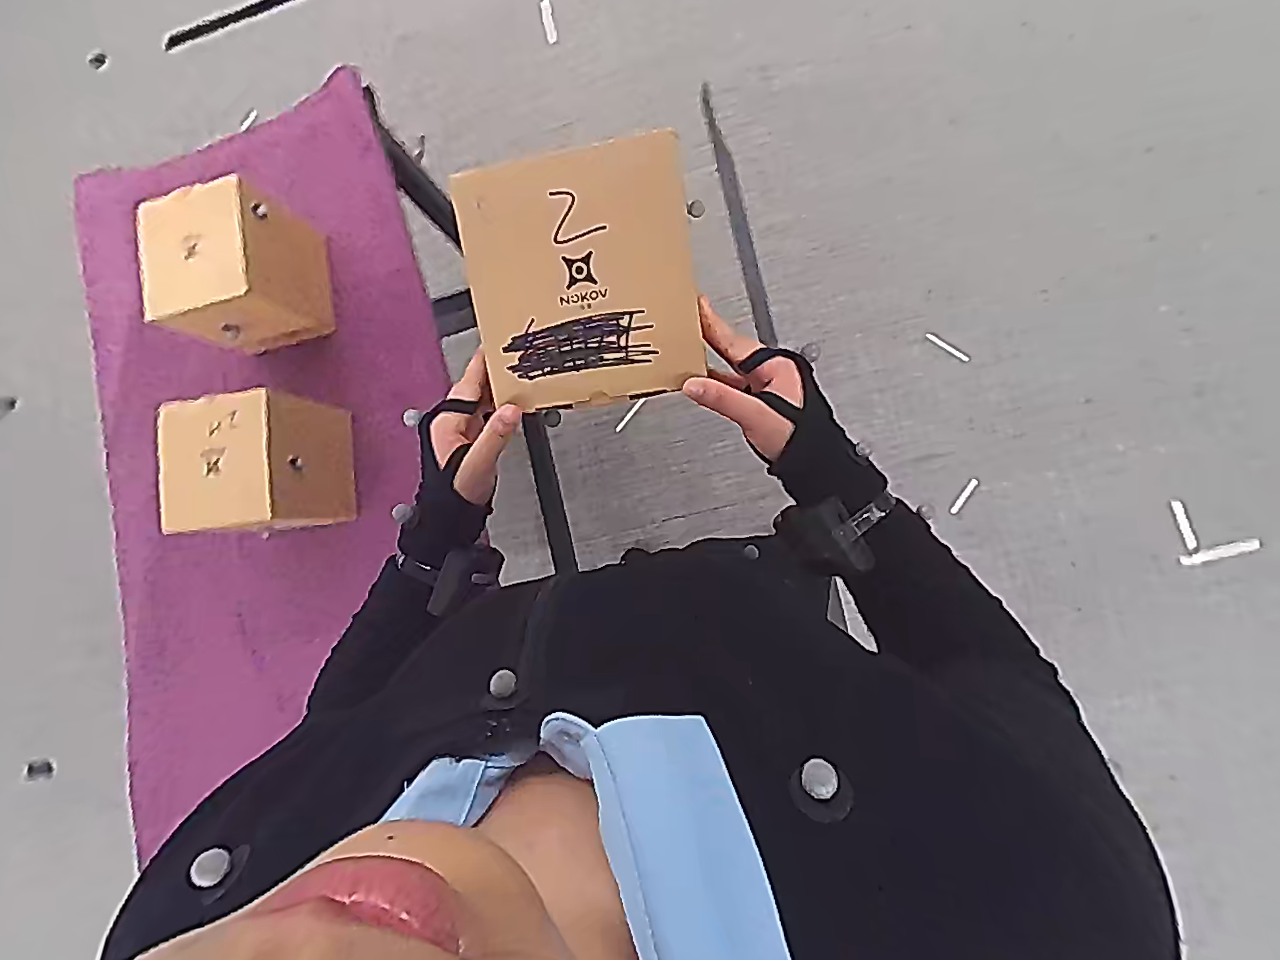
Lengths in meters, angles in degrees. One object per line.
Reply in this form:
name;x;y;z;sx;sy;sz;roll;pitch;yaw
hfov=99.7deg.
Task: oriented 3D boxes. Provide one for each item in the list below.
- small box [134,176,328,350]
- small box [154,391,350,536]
small box;-0.603;-0.309;0.816;0.168;0.176;0.179;-11;83;9
small box;-0.547;-0.016;0.782;0.168;0.176;0.179;-7;84;7
